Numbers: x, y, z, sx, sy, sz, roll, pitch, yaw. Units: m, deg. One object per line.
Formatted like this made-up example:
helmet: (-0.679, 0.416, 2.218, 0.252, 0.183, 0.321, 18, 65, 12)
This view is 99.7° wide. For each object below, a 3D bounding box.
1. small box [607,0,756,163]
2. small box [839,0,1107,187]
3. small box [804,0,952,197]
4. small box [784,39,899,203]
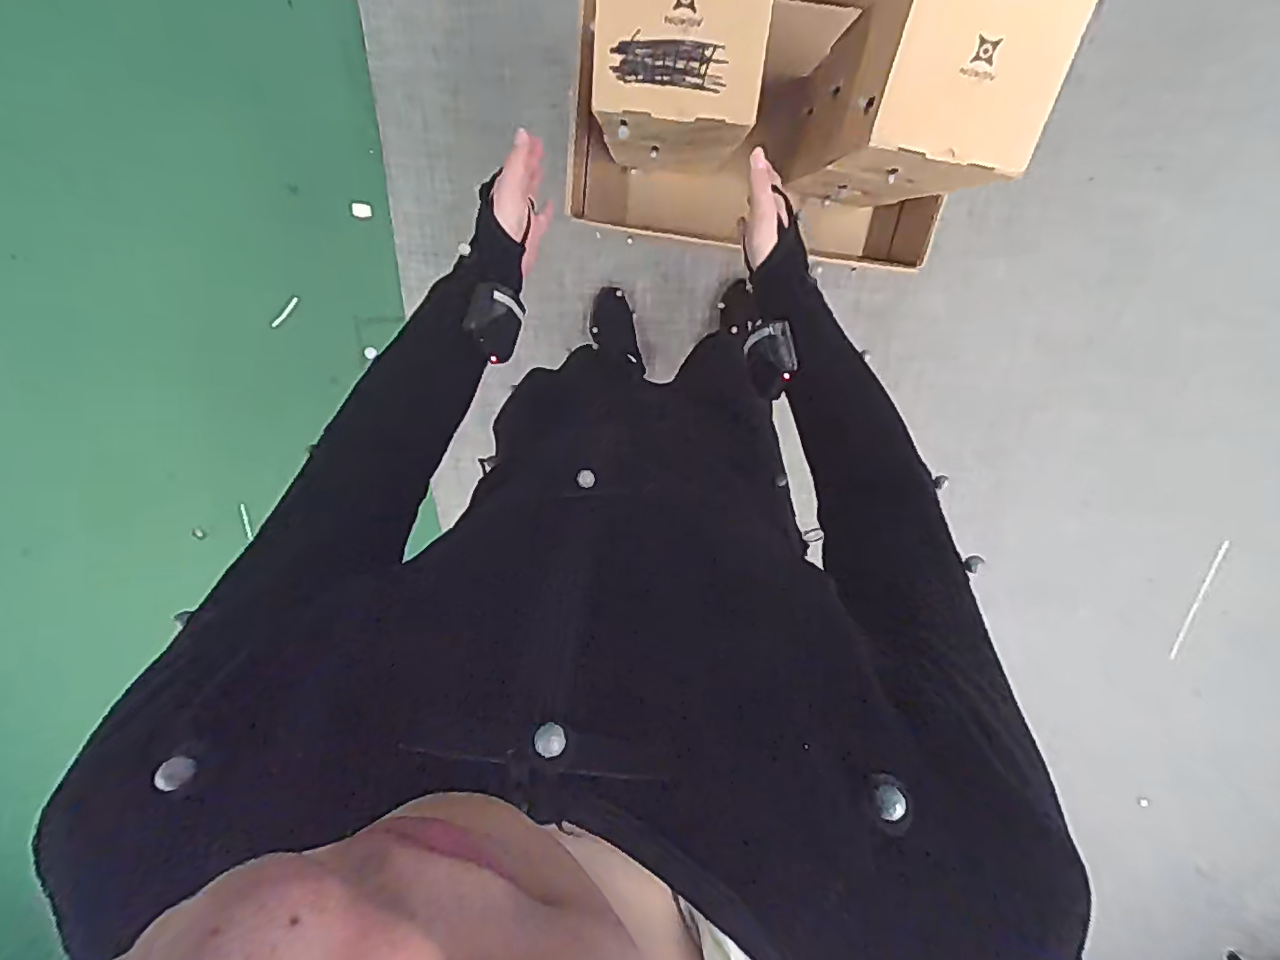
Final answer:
small box: (0.048, -0.538, 0.715, 0.168, 0.176, 0.179, 5, 114, 0)
small box: (0.334, -0.431, 0.578, 0.168, 0.176, 0.179, 11, 114, -1)
small box: (0.337, -0.496, 0.726, 0.168, 0.176, 0.179, 10, 114, -3)
small box: (0.346, -0.564, 0.875, 0.168, 0.176, 0.179, 11, 115, -2)
